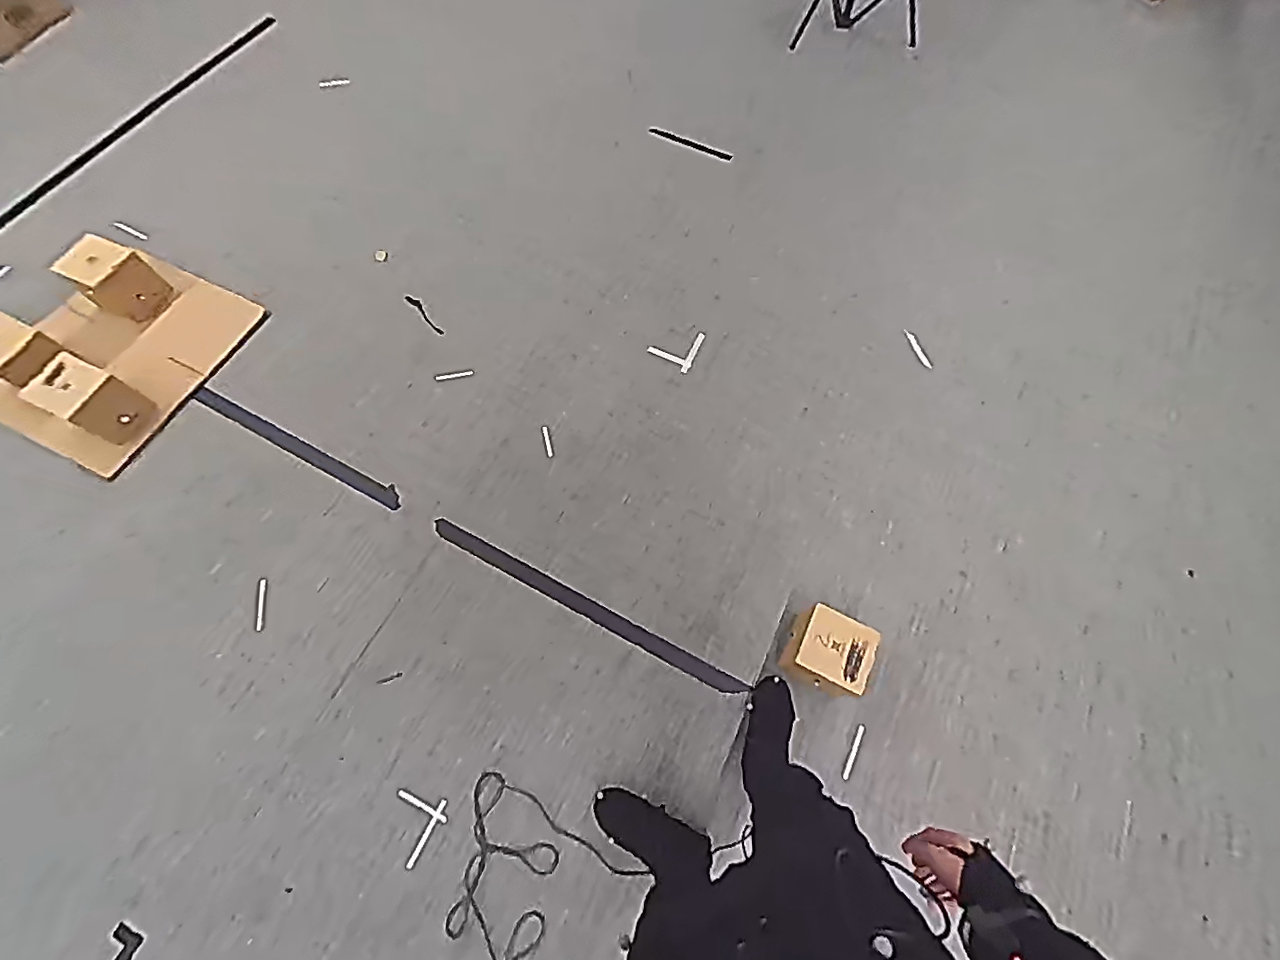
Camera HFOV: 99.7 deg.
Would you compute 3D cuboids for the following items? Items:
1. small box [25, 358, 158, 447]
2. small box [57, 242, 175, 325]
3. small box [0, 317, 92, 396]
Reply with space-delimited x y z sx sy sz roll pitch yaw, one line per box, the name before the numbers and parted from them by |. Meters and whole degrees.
small box | -1.601 -0.220 1.590 0.179 0.176 0.168 24 70 7
small box | -1.698 -0.634 1.762 0.179 0.176 0.168 21 69 7
small box | -1.849 -0.353 1.635 0.179 0.176 0.168 24 70 8
